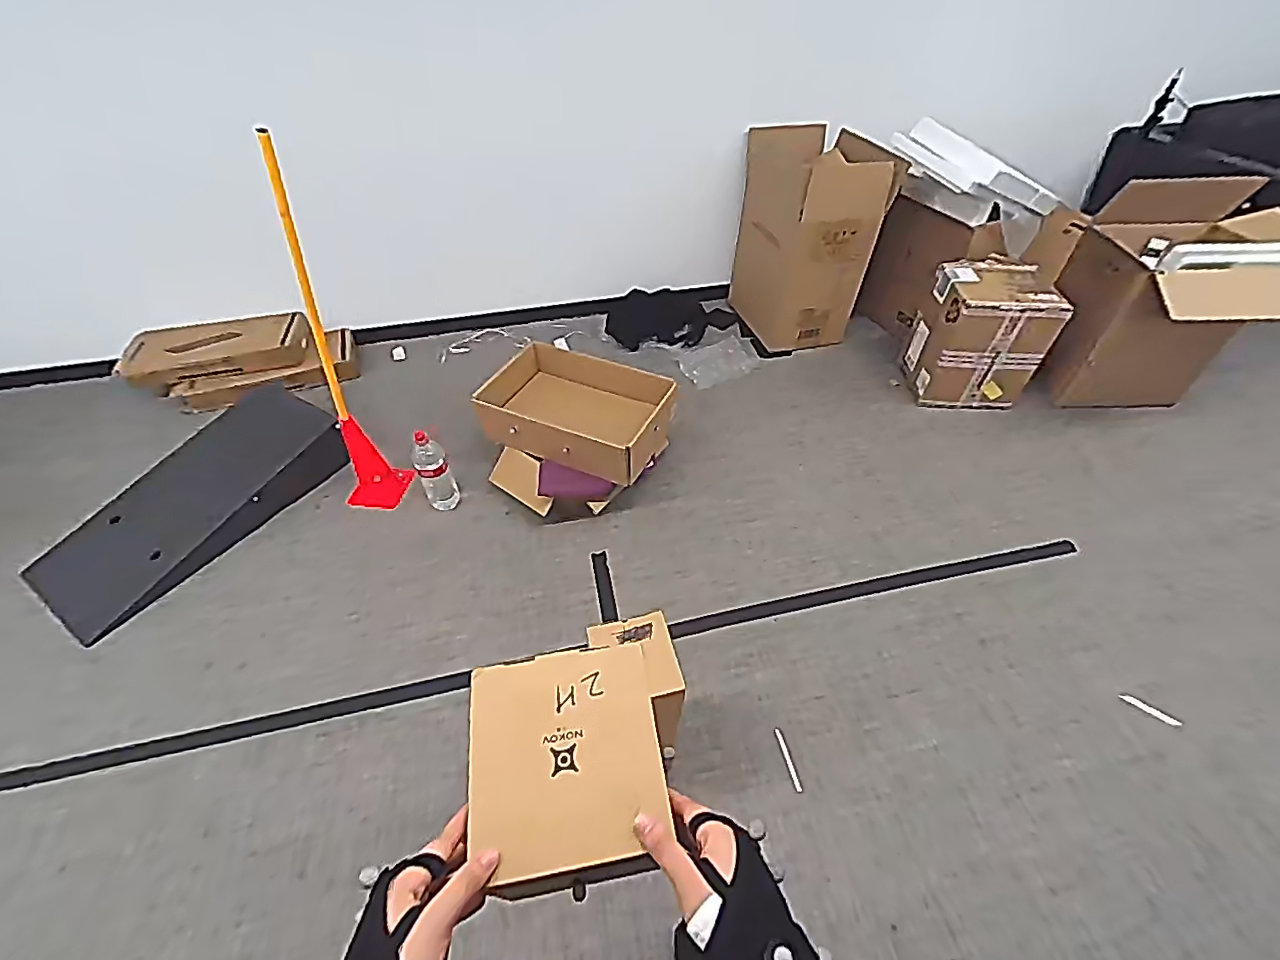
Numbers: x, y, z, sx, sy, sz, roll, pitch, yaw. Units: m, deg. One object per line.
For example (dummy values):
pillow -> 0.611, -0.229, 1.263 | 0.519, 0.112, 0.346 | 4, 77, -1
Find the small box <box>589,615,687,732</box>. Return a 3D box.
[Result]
small box -> -0.010, 0.415, 1.128 | 0.168, 0.176, 0.179 | -11, 47, -10

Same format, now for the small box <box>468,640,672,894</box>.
small box -> -0.064, 0.286, 0.533 | 0.168, 0.176, 0.179 | -9, 50, -6

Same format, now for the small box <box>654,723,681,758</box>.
small box -> -0.012, 0.532, 1.245 | 0.168, 0.176, 0.179 | -11, 45, -10
